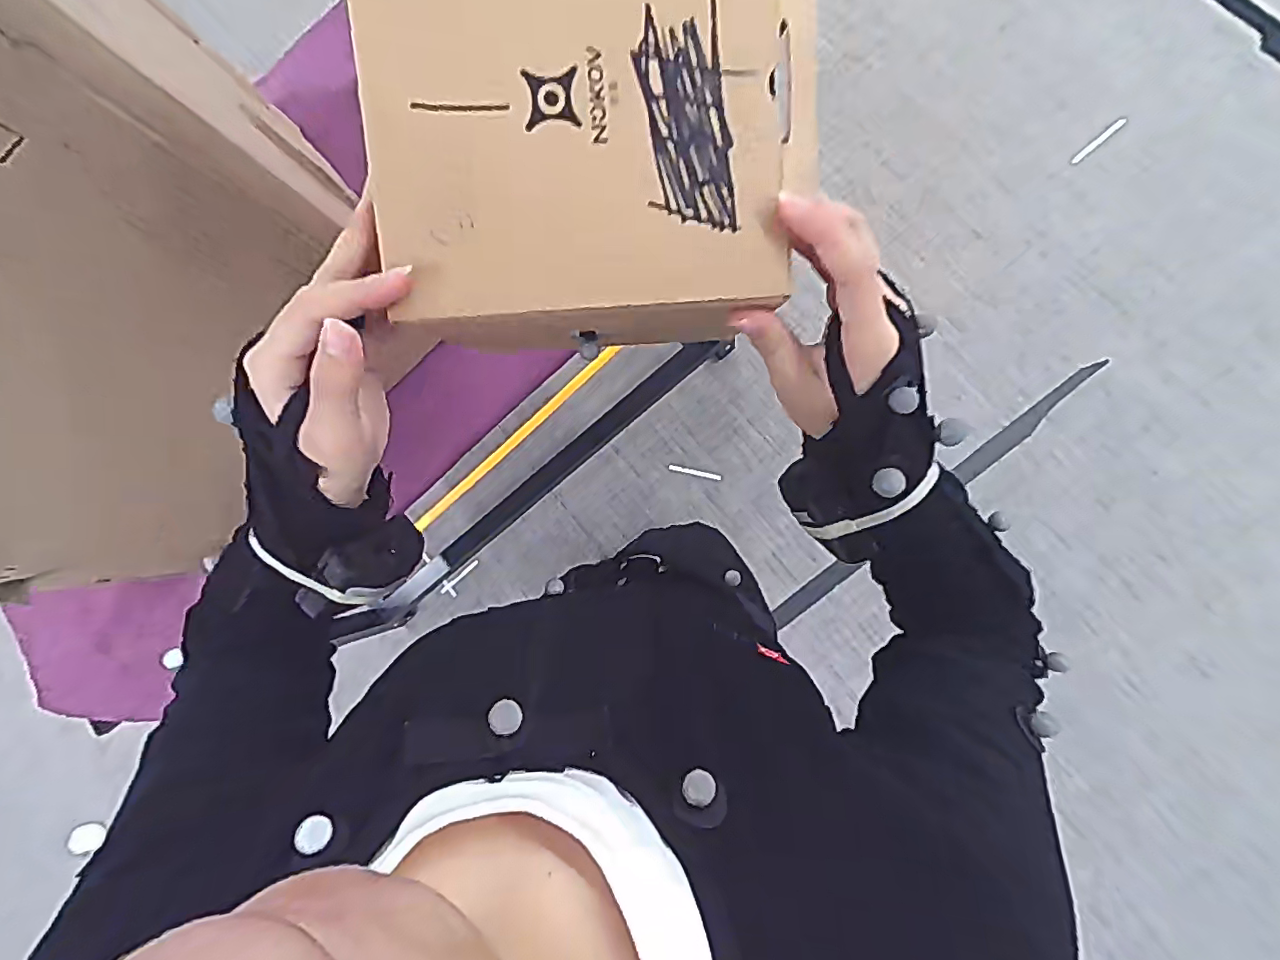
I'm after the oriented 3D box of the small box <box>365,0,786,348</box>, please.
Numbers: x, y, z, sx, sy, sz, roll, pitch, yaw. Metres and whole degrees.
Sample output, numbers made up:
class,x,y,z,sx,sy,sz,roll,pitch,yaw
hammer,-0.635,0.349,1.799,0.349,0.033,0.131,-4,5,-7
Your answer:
class,x,y,z,sx,sy,sz,roll,pitch,yaw
small box,-0.025,-0.169,0.309,0.179,0.176,0.168,-3,99,2
